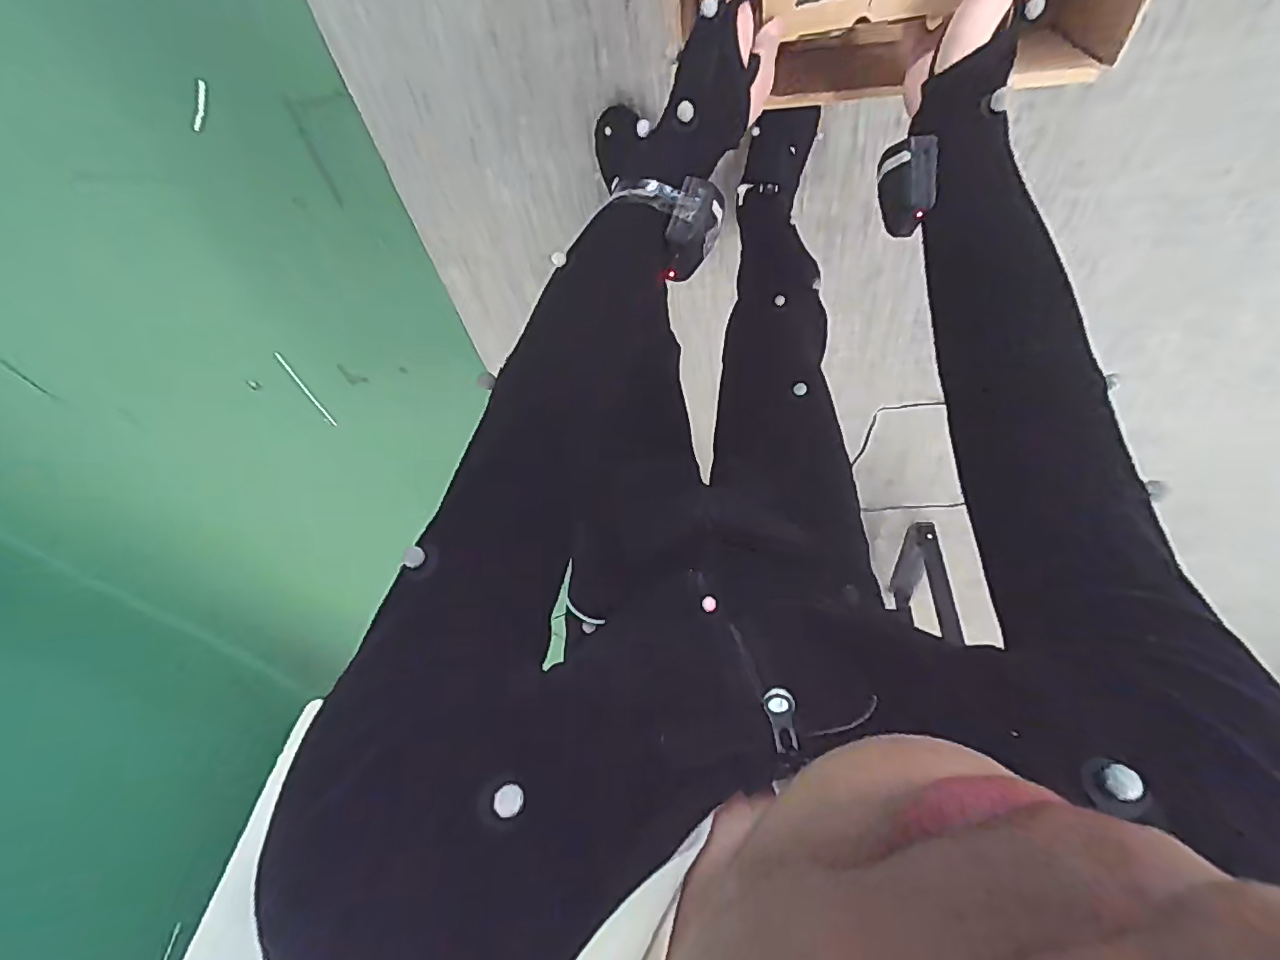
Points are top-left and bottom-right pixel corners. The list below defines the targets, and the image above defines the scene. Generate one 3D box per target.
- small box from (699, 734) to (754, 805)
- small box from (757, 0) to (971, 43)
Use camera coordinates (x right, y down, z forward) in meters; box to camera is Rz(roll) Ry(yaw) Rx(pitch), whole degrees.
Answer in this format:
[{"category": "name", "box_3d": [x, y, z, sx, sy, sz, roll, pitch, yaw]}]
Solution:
[{"category": "small box", "box_3d": [0.287, 0.943, 1.760, 0.168, 0.176, 0.179, -2, 141, 12]}, {"category": "small box", "box_3d": [0.178, -0.488, 0.429, 0.168, 0.176, 0.179, -2, 140, 11]}]
